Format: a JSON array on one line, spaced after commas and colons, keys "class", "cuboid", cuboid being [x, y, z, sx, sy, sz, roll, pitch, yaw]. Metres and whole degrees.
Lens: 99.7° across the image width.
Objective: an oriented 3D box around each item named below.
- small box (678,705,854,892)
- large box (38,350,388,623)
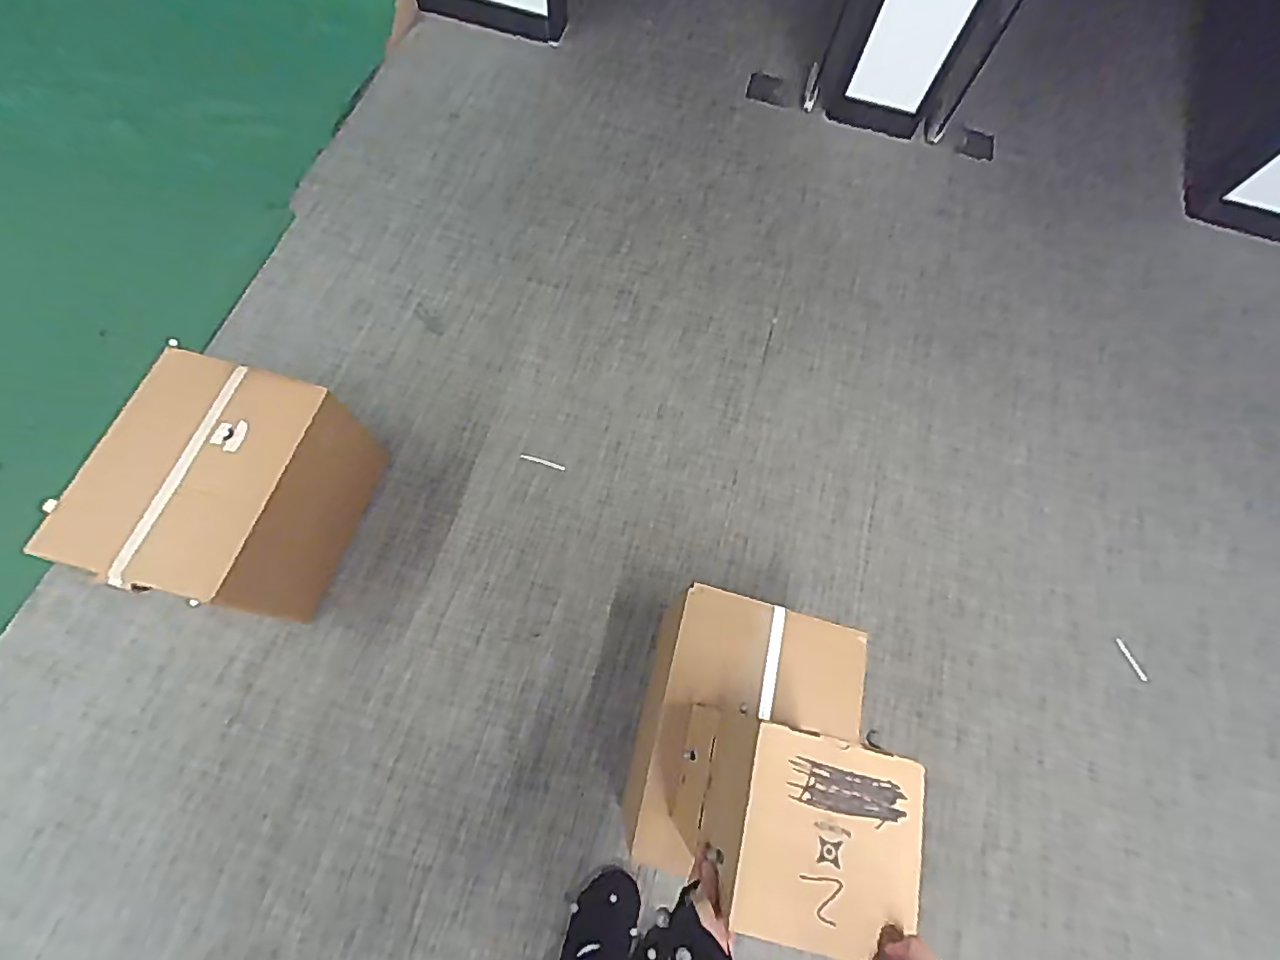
[{"class": "small box", "cuboid": [0.160, 0.409, 0.727, 0.179, 0.176, 0.168, 14, 70, 1]}, {"class": "large box", "cuboid": [-0.766, 0.030, 1.052, 0.320, 0.320, 0.408, 15, 68, 2]}]
